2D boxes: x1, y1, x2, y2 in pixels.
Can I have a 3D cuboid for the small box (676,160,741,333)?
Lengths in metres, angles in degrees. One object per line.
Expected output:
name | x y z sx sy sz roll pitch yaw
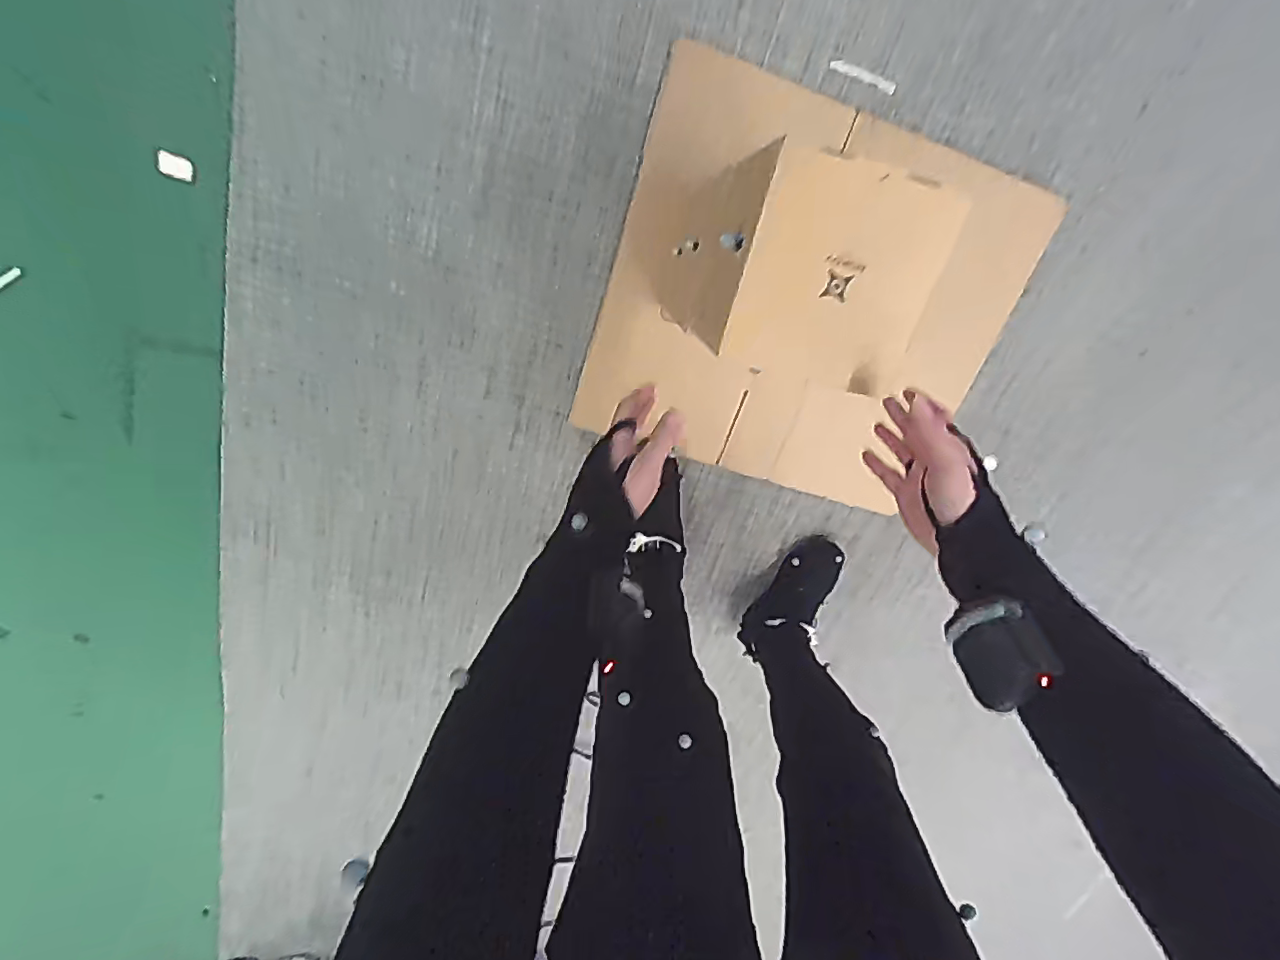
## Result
small box | 0.146 -0.266 0.669 0.168 0.176 0.179 11 112 -8

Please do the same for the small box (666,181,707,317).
small box | 0.138 -0.331 0.819 0.168 0.176 0.179 8 113 -7

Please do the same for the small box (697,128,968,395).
small box | 0.159 -0.202 0.521 0.168 0.176 0.179 12 112 -8
